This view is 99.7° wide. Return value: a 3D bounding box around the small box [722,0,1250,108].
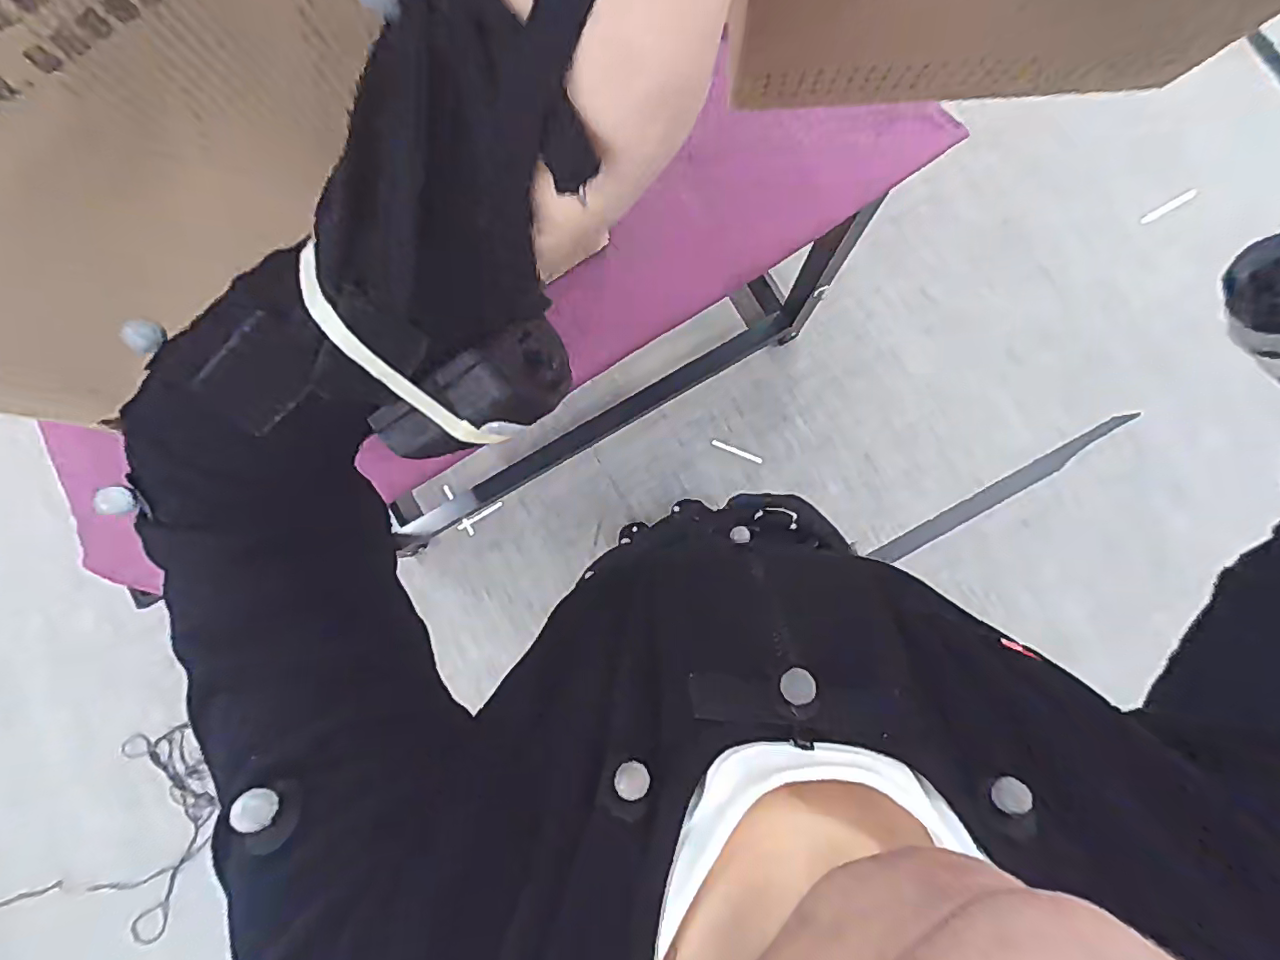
[{"bbox_3d":[0.118,-0.230,0.142,0.179,0.176,0.168,0,99,4],"label":"small box"}]
